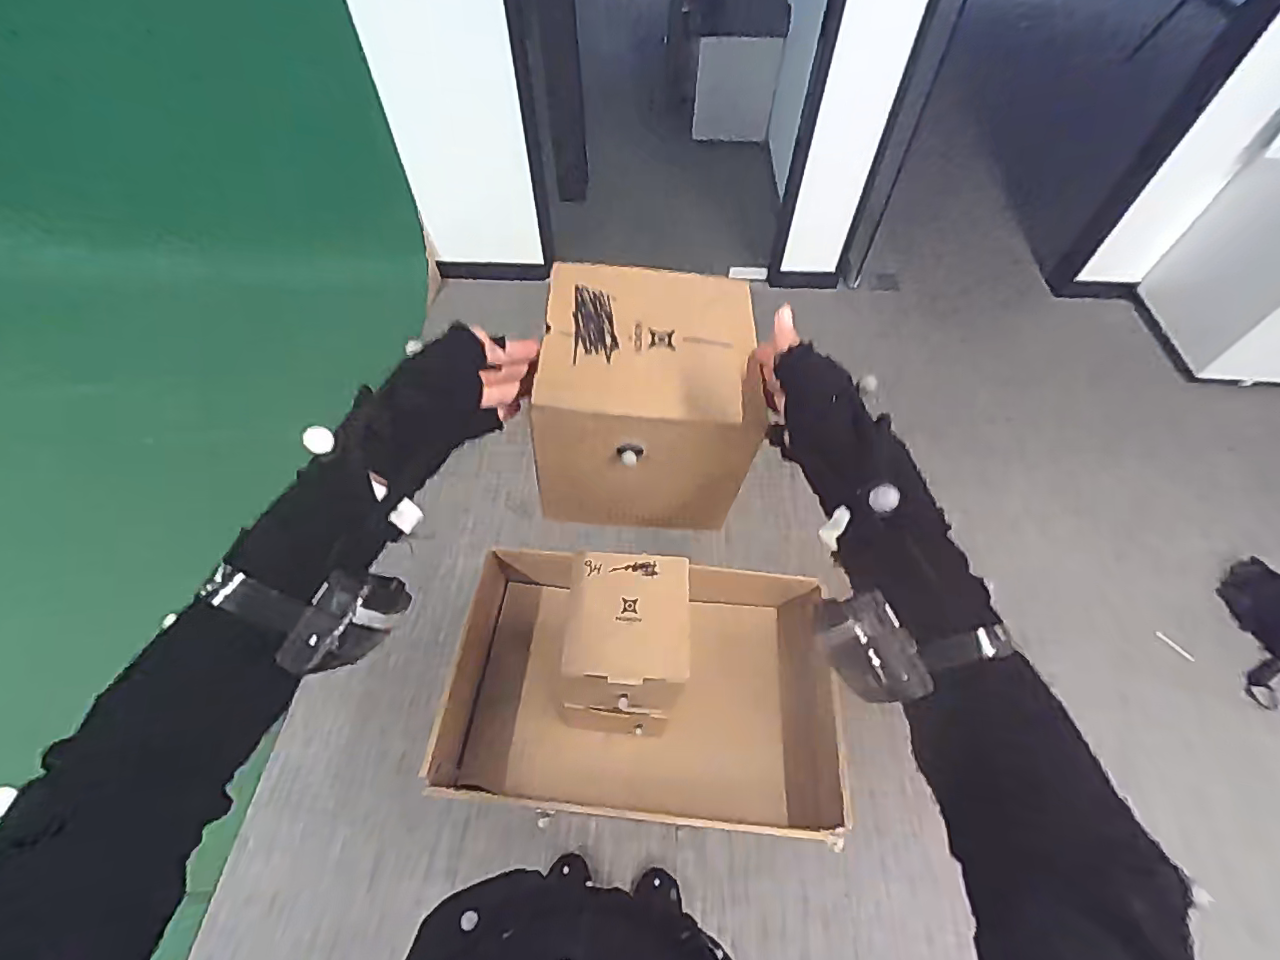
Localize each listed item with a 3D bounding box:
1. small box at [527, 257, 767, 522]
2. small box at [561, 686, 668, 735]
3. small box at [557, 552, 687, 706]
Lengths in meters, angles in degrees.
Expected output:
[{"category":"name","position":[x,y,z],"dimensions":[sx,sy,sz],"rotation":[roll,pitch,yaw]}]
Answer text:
[{"category":"small box","position":[0.001,-0.074,0.492],"dimensions":[0.179,0.176,0.168],"rotation":[4,57,-4]},{"category":"small box","position":[-0.034,0.322,0.922],"dimensions":[0.168,0.176,0.179],"rotation":[6,54,0]},{"category":"small box","position":[-0.023,0.224,0.792],"dimensions":[0.168,0.176,0.179],"rotation":[4,56,-1]}]
